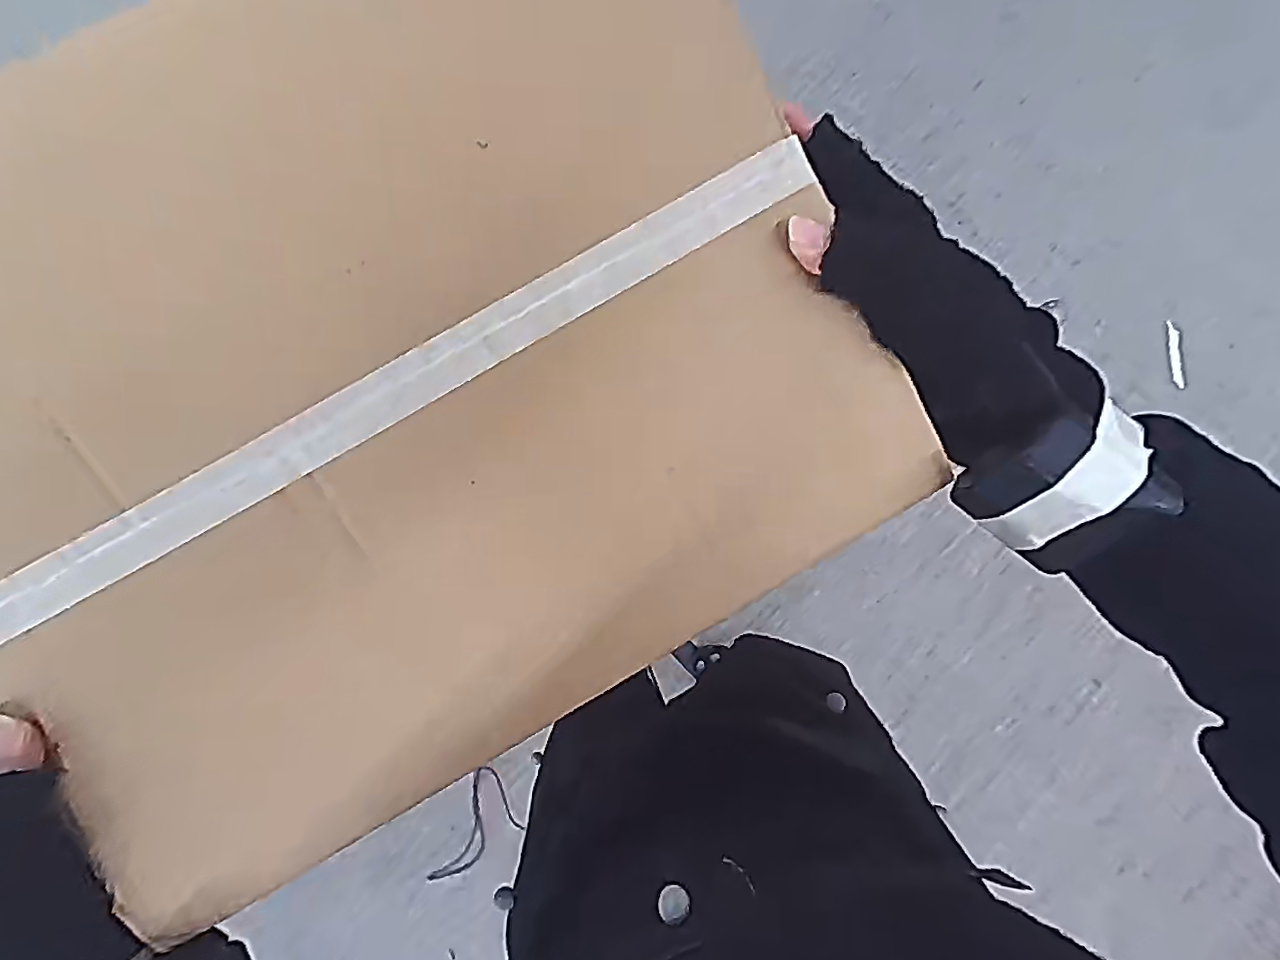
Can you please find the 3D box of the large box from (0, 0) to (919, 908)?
[{"bbox_3d":[-0.121,-0.052,0.377,0.408,0.320,0.320,-30,99,-3],"label":"large box"}]
